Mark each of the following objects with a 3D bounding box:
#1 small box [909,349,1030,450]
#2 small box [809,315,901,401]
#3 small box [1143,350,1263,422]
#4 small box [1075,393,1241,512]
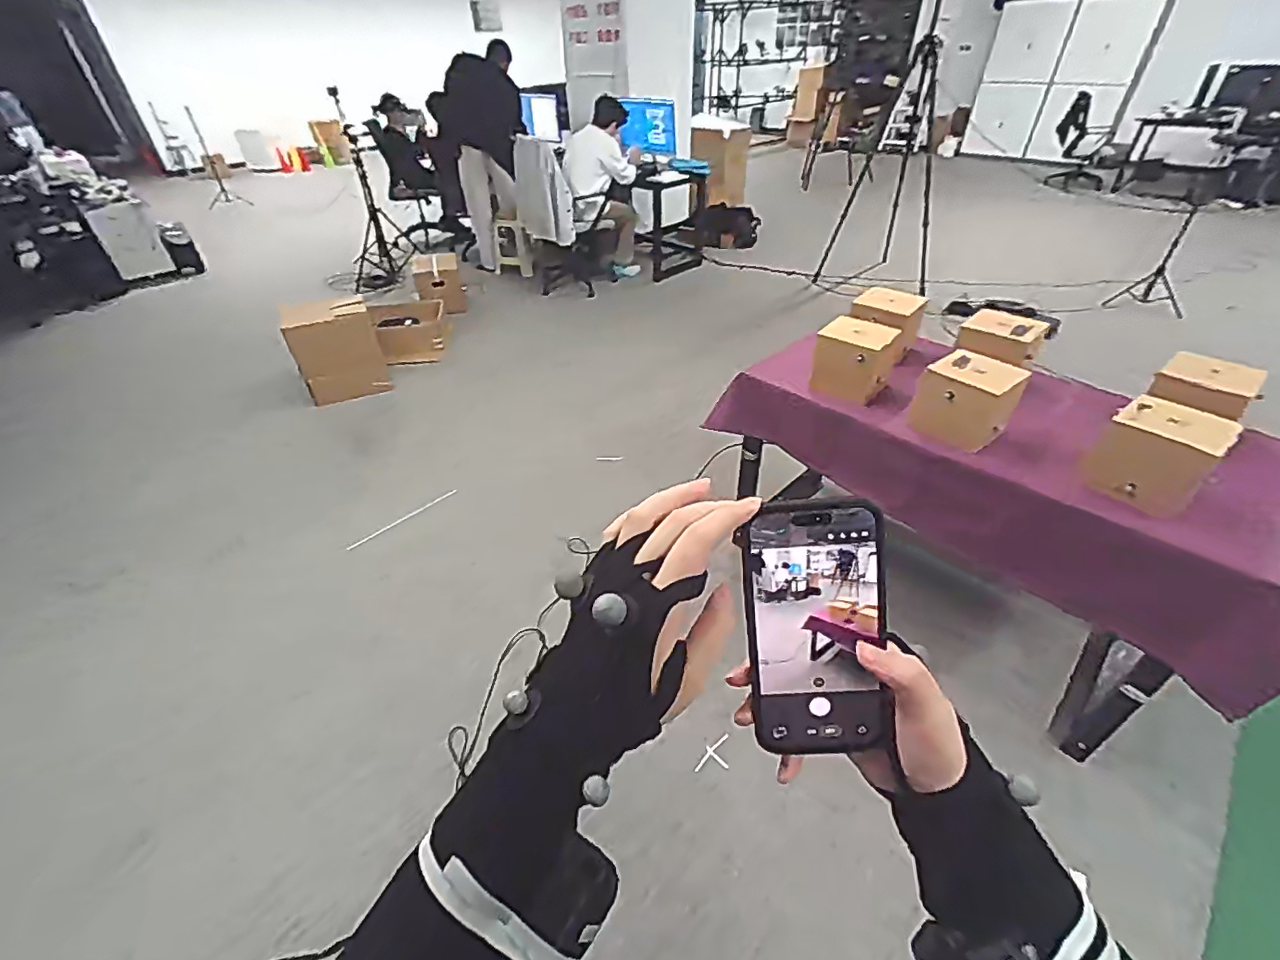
[{"bbox_3d":[0.806,-0.200,1.340,0.168,0.176,0.179,-27,46,-28],"label":"small box"},{"bbox_3d":[0.599,-0.344,1.527,0.179,0.176,0.168,28,47,30],"label":"small box"},{"bbox_3d":[1.323,-0.187,1.303,0.179,0.176,0.168,-29,46,-29],"label":"small box"},{"bbox_3d":[1.087,-0.054,1.147,0.168,0.176,0.179,-26,45,-27],"label":"small box"}]
